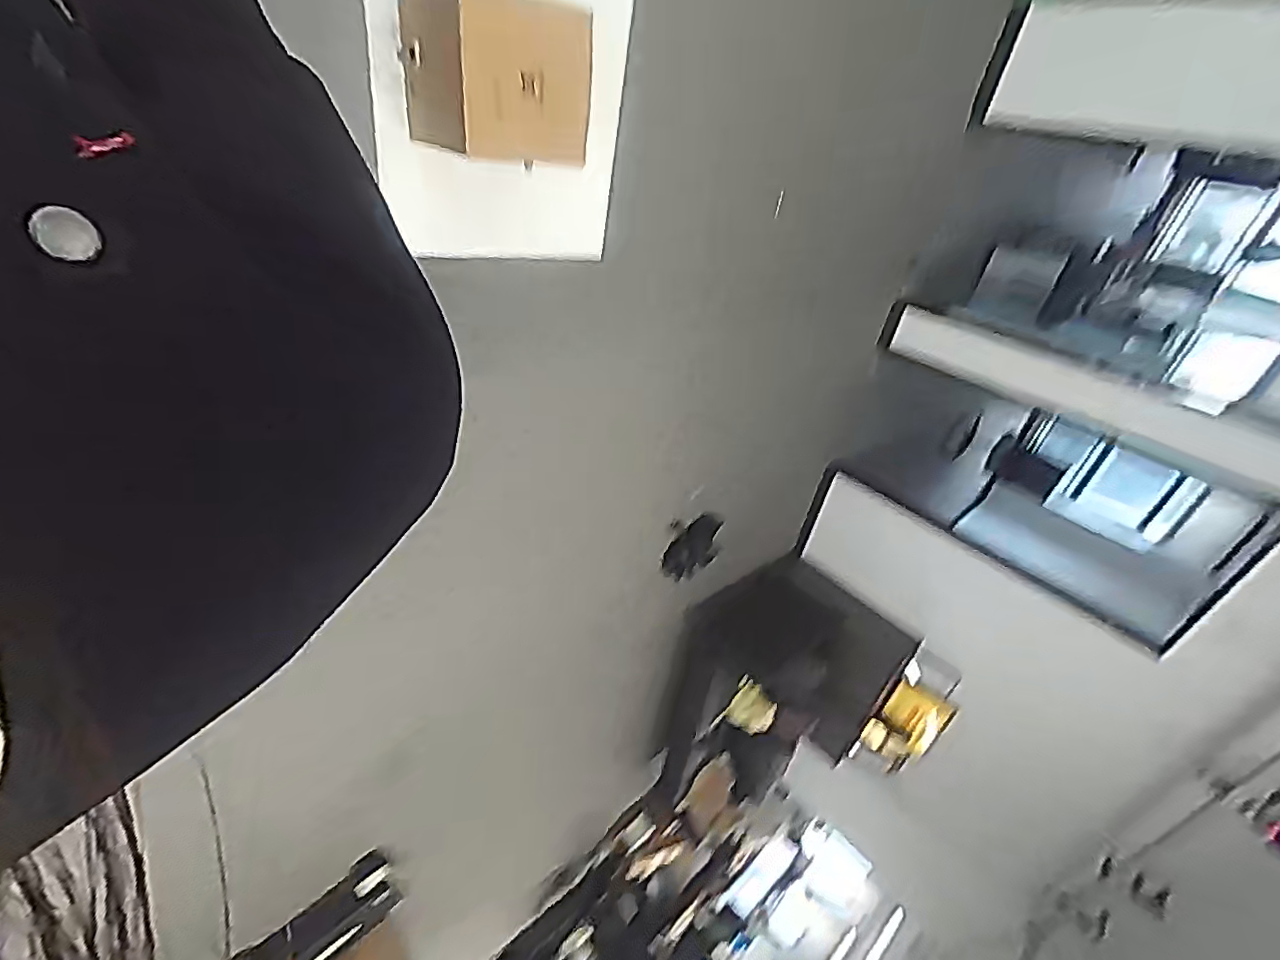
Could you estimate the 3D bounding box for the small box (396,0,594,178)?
[{"bbox_3d":[-0.181,-0.490,0.679,0.179,0.176,0.168,-20,132,-35],"label":"small box"}]
